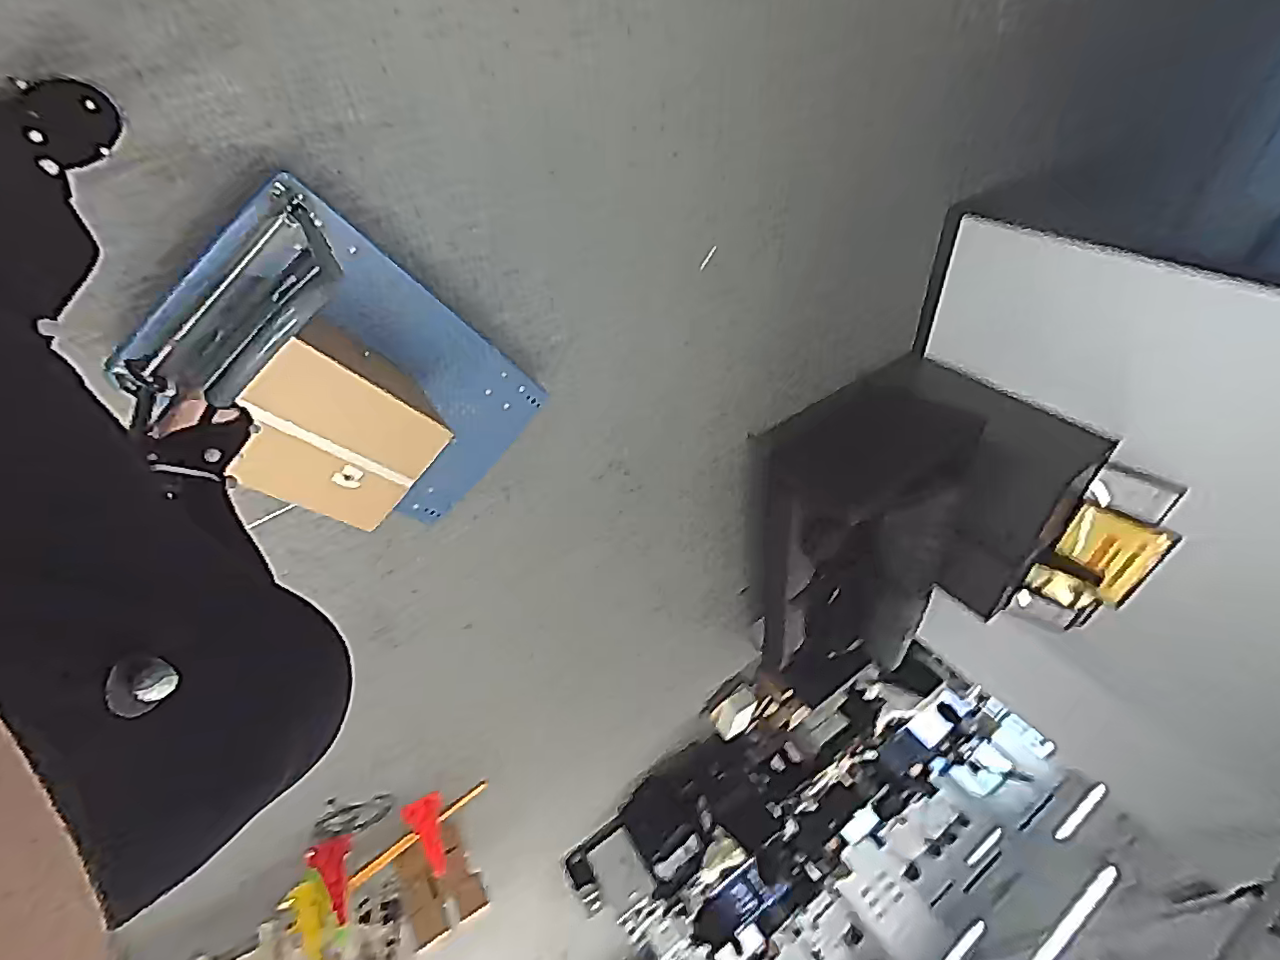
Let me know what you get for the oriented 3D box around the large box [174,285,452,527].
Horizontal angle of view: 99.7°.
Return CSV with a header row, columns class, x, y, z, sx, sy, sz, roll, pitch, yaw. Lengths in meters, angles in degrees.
class,x,y,z,sx,sy,sz,roll,pitch,yaw
large box,-0.721,-0.155,1.212,0.320,0.320,0.408,-48,142,3
